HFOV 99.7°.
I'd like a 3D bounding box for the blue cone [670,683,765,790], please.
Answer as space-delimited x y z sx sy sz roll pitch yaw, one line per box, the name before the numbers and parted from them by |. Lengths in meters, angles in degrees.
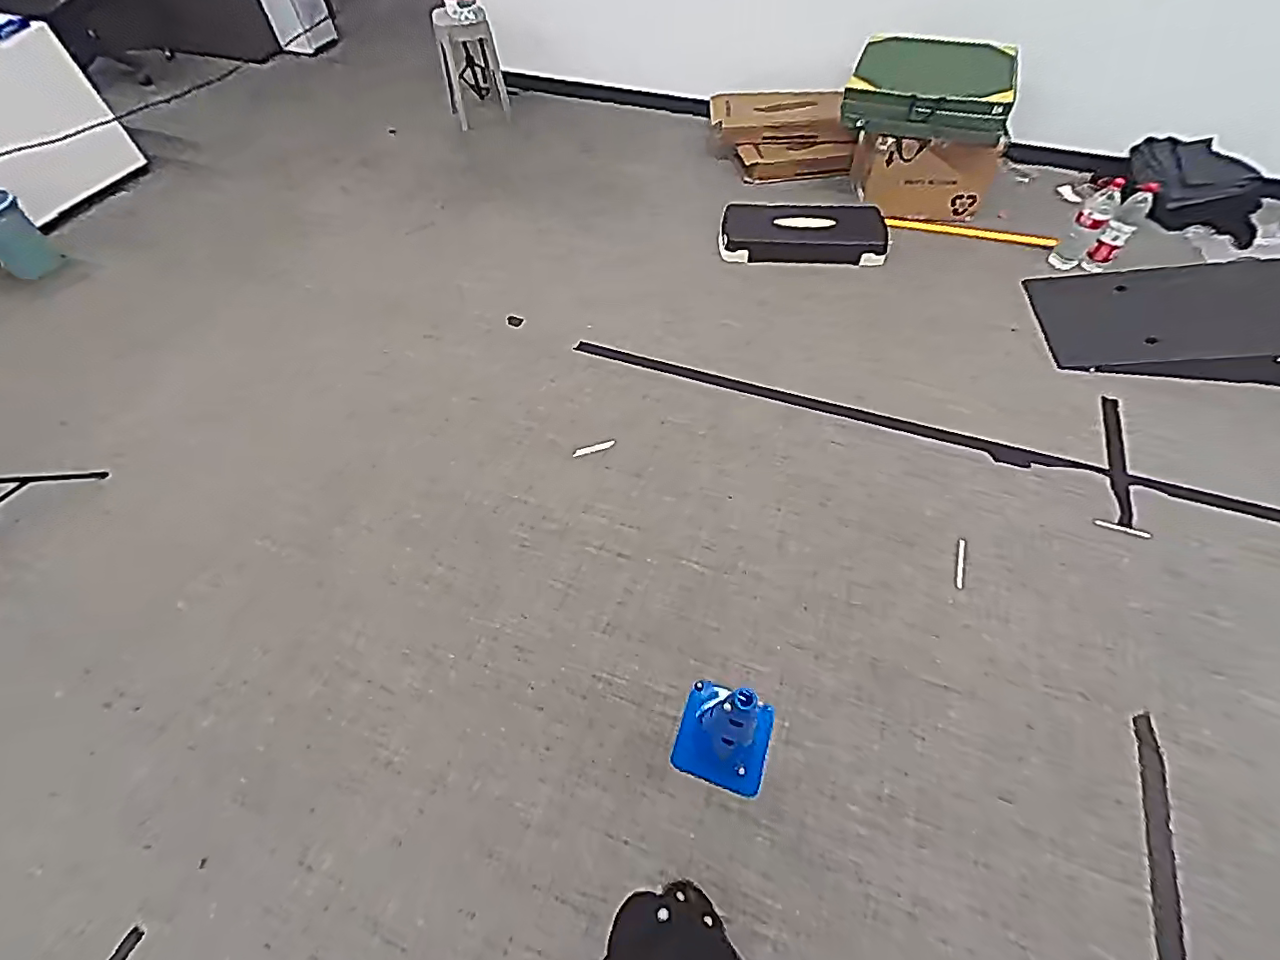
blue cone | 0.171 0.480 1.083 0.192 0.380 0.193 17 57 14
